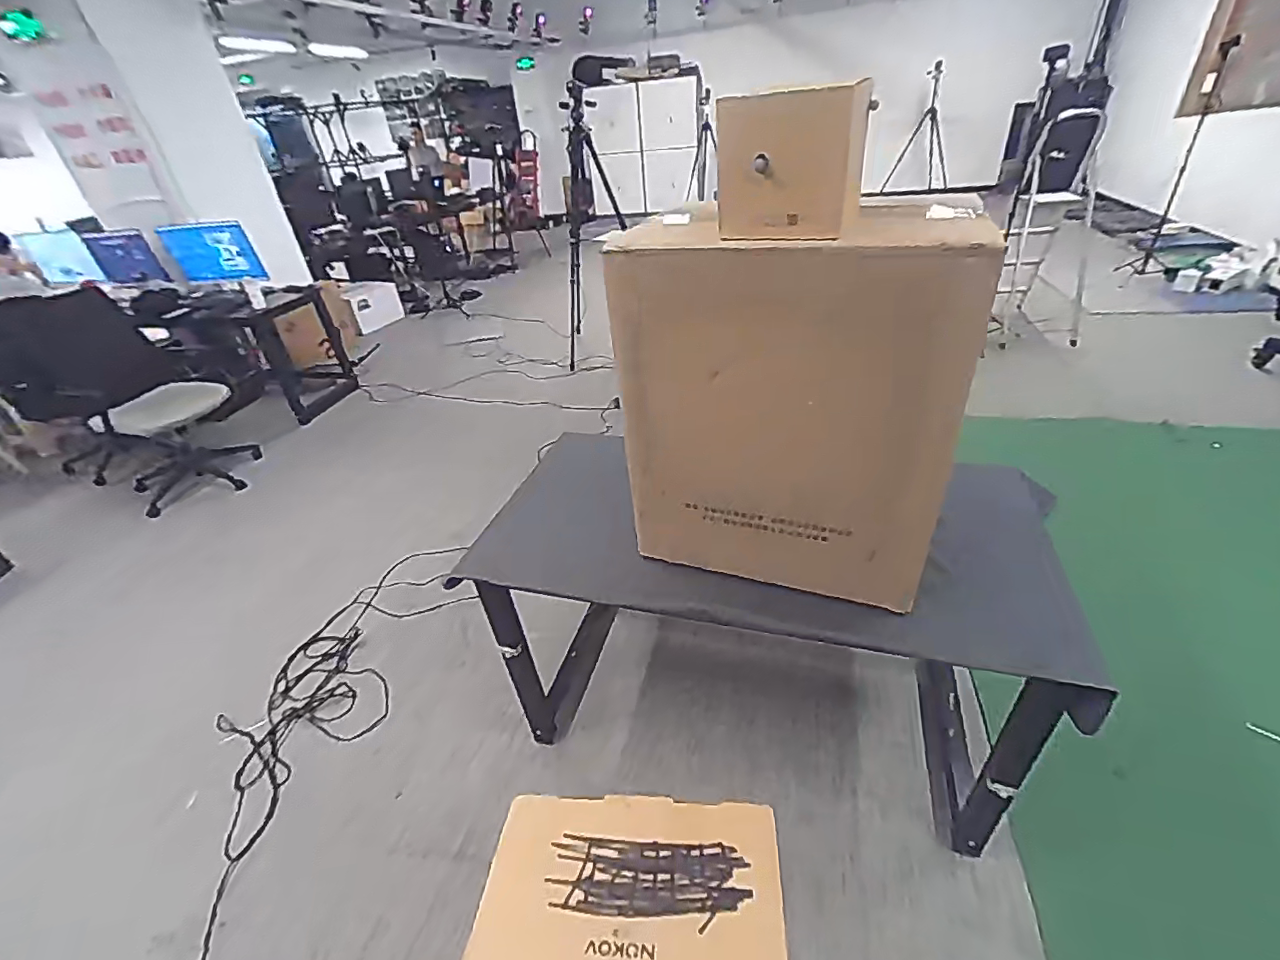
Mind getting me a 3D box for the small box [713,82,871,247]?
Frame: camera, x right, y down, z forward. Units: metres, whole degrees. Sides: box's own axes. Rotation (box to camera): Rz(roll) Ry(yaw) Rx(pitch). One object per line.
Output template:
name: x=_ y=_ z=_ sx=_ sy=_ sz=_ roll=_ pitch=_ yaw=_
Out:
small box: x=0.209 y=-0.427 z=0.741 sx=0.168 sy=0.176 sz=0.179 roll=11 pitch=40 yaw=24
